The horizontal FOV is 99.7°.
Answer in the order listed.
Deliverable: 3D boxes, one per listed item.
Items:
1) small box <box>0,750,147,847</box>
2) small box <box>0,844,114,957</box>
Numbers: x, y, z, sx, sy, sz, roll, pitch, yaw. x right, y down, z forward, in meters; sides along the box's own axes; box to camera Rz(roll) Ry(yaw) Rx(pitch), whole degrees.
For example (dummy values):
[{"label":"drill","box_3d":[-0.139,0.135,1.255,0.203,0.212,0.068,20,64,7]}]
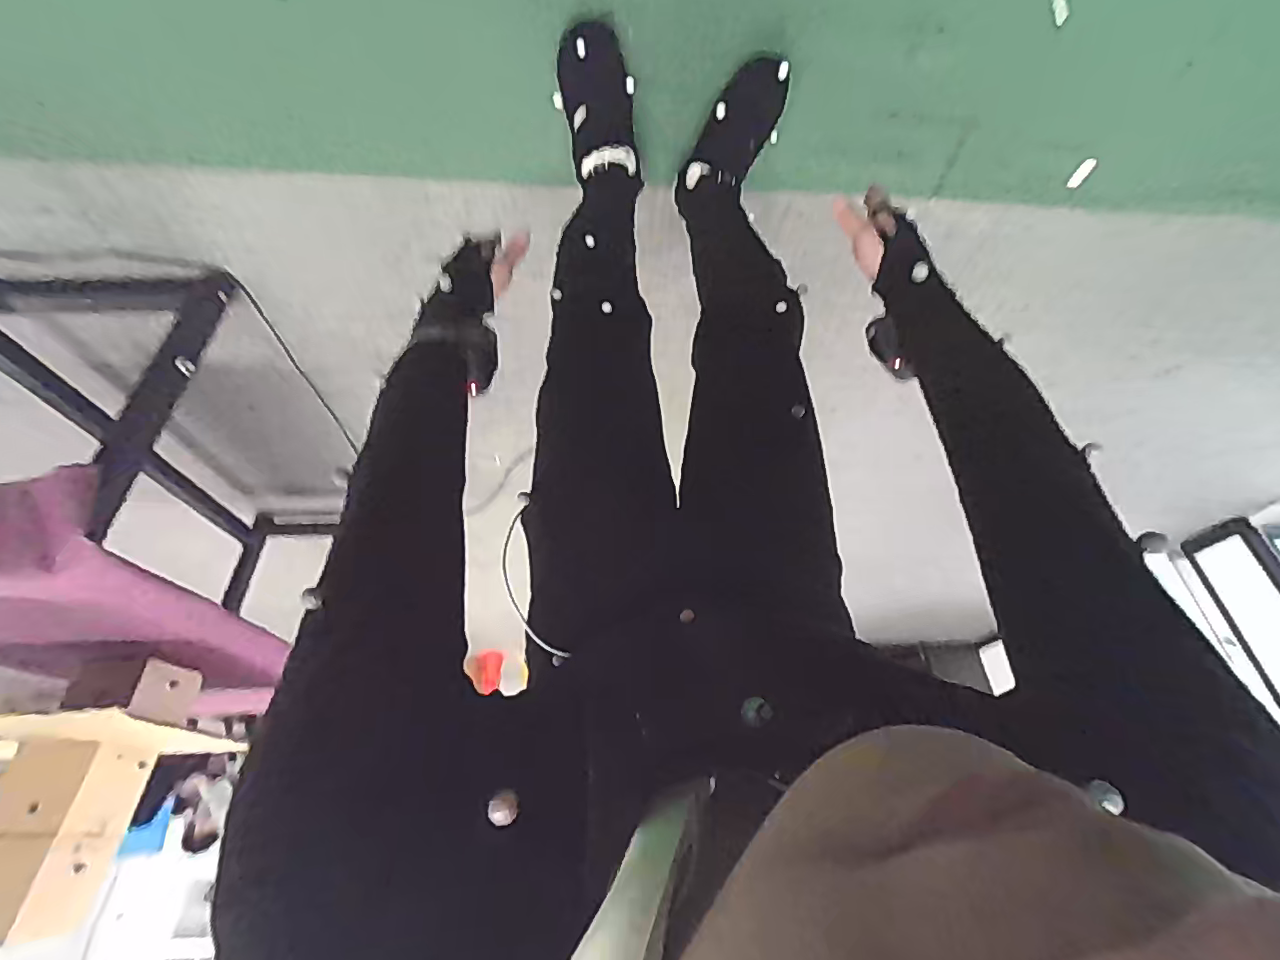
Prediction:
[{"label":"small box","box_3d":[-1.204,0.674,1.141,0.179,0.176,0.168,-1,144,0]},{"label":"small box","box_3d":[-1.203,0.809,1.047,0.179,0.176,0.168,-2,145,-1]}]
